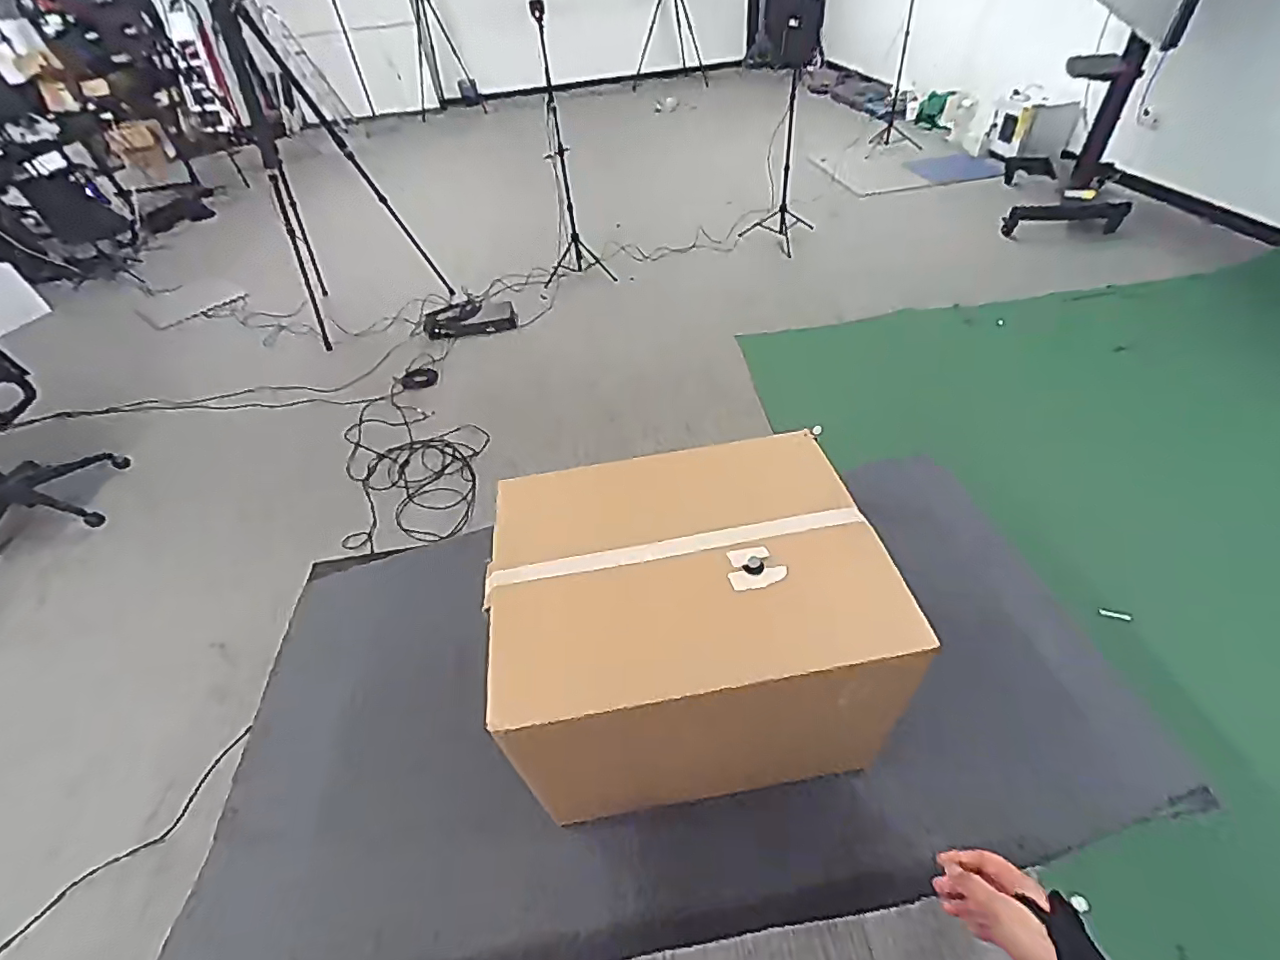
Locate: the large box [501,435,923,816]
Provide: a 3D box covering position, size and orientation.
[{"bbox_3d":[0.057,0.183,0.696,0.408,0.320,0.320,-9,45,-3],"label":"large box"}]
